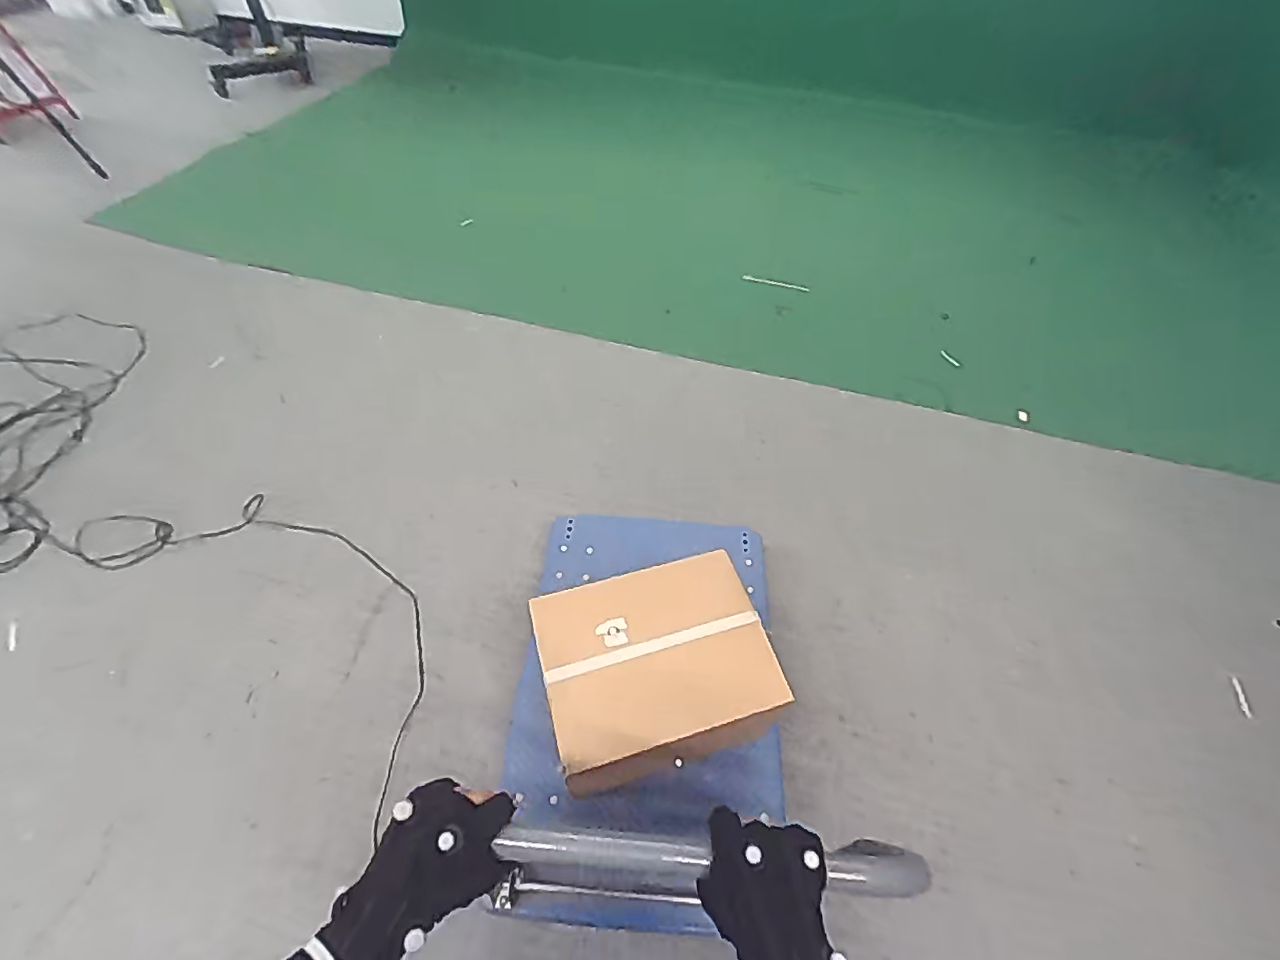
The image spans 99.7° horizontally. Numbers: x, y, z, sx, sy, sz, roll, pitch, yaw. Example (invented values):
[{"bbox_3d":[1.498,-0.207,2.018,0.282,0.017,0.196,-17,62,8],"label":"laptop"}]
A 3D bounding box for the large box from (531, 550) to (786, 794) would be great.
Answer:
[{"bbox_3d":[0.022,0.394,1.105,0.408,0.320,0.320,-14,54,-11],"label":"large box"}]
